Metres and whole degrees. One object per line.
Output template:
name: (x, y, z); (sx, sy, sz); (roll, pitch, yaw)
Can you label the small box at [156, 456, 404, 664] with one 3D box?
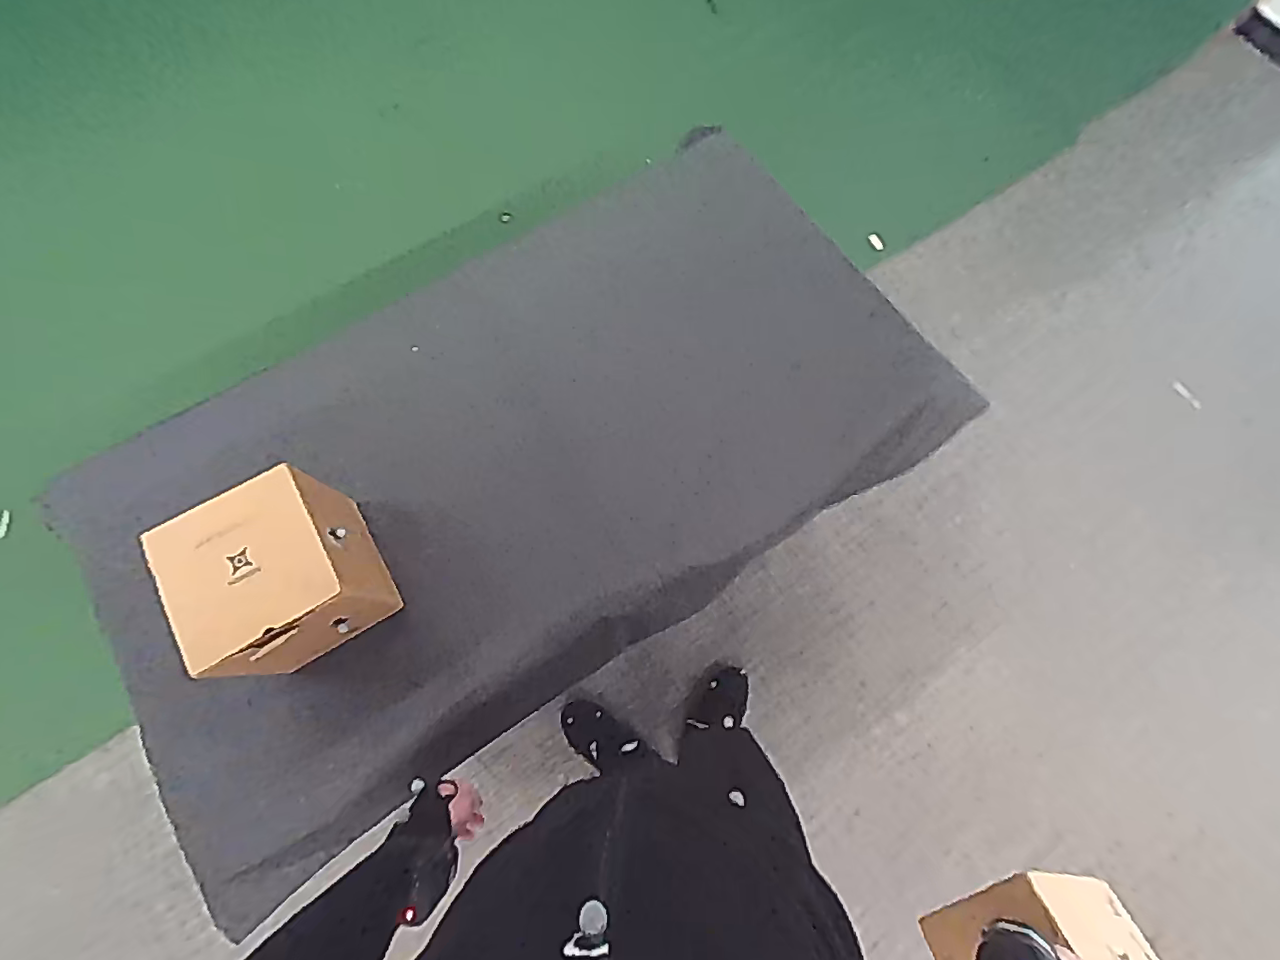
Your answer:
small box: (-0.422, 0.104, 0.664); (0.168, 0.176, 0.179); (-30, 74, -11)
